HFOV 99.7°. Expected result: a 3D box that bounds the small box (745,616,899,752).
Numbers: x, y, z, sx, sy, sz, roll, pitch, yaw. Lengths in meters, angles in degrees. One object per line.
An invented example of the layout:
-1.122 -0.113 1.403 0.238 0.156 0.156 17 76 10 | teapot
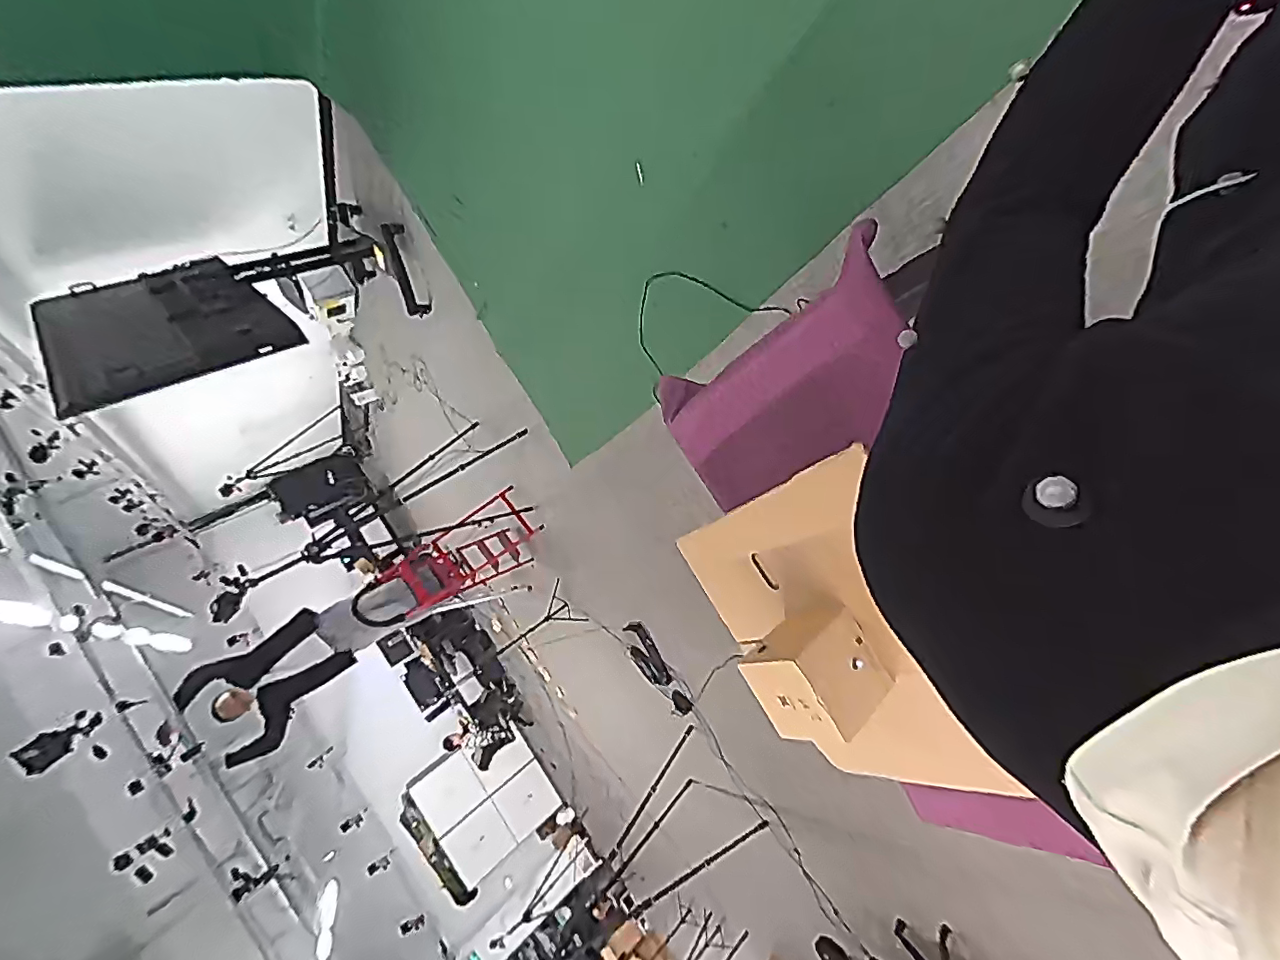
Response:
0.339 0.374 1.010 0.168 0.176 0.179 58 147 4 | small box
